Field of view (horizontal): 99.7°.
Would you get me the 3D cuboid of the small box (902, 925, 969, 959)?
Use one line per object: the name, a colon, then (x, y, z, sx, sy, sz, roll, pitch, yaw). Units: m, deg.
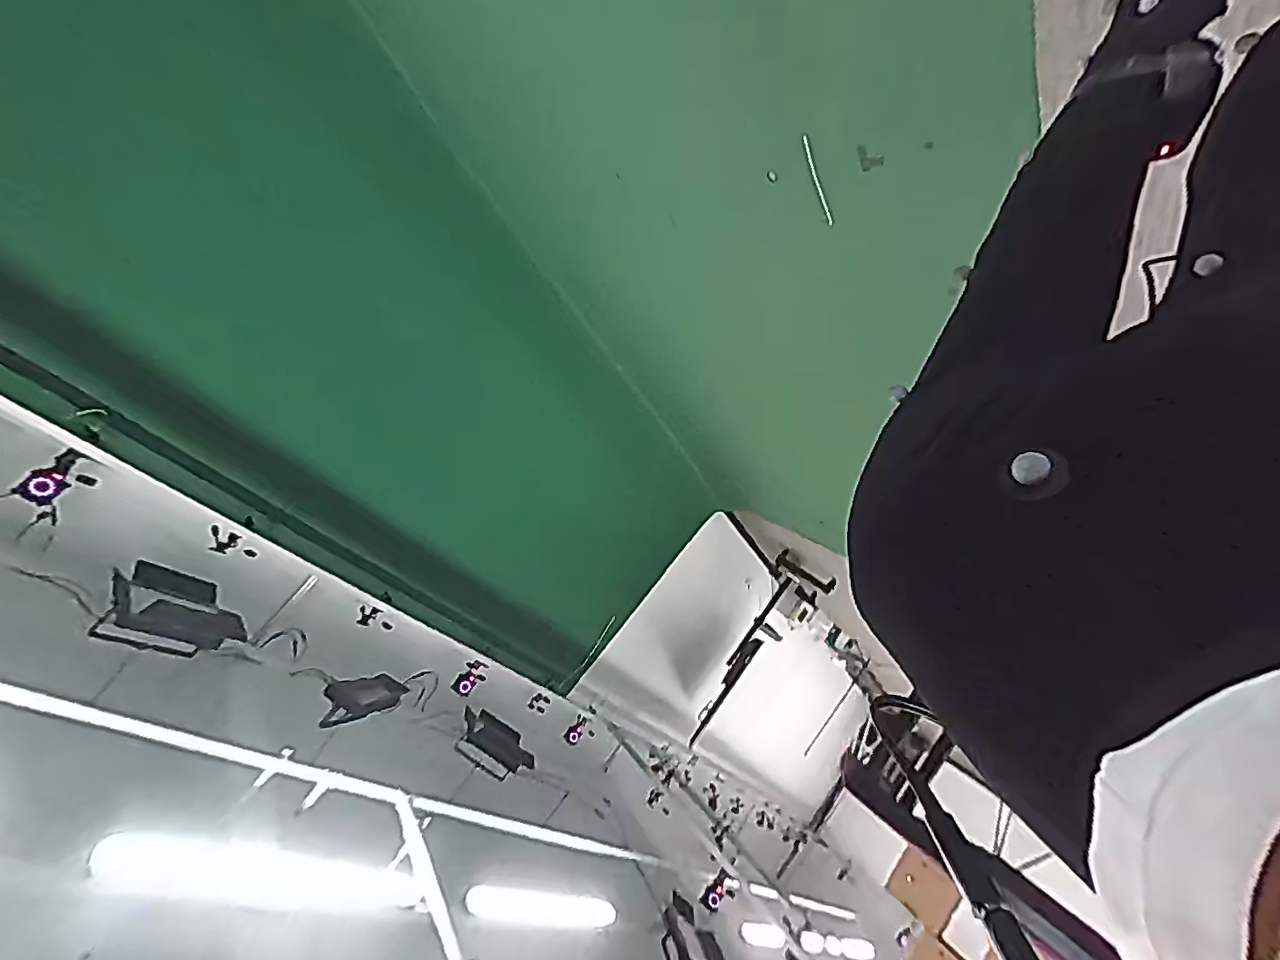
small box: (0.853, 1.419, 1.547, 0.168, 0.176, 0.179, 30, 166, 45)

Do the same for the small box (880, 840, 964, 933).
small box: (0.877, 1.251, 1.673, 0.168, 0.176, 0.179, 29, 166, 45)
